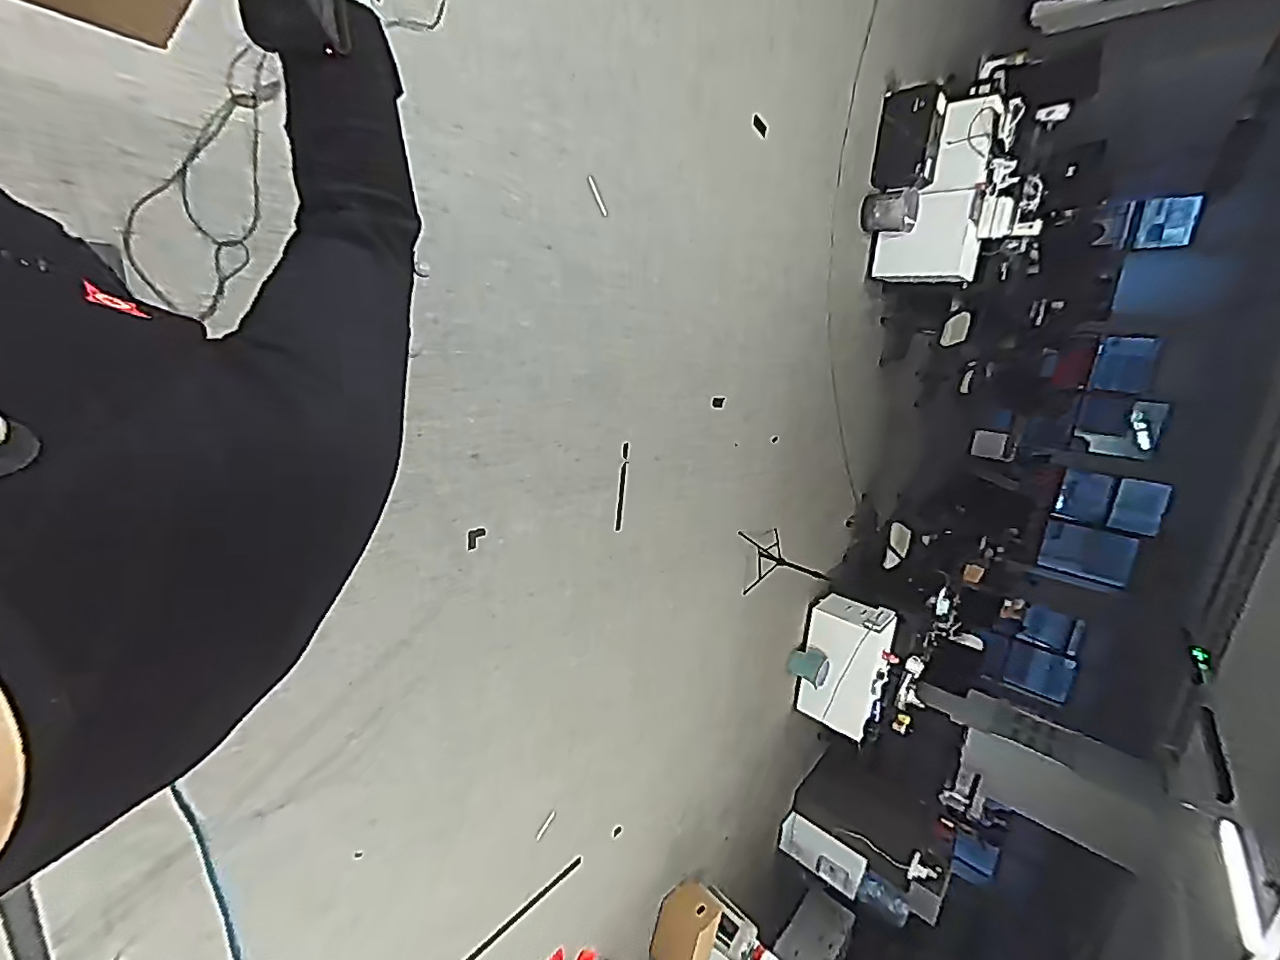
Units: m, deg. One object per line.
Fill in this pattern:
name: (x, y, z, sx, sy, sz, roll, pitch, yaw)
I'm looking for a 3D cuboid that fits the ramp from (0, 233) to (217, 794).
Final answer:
ramp: (-1.152, 0.069, 0.968, 0.509, 0.206, 0.991, -15, 114, -45)
